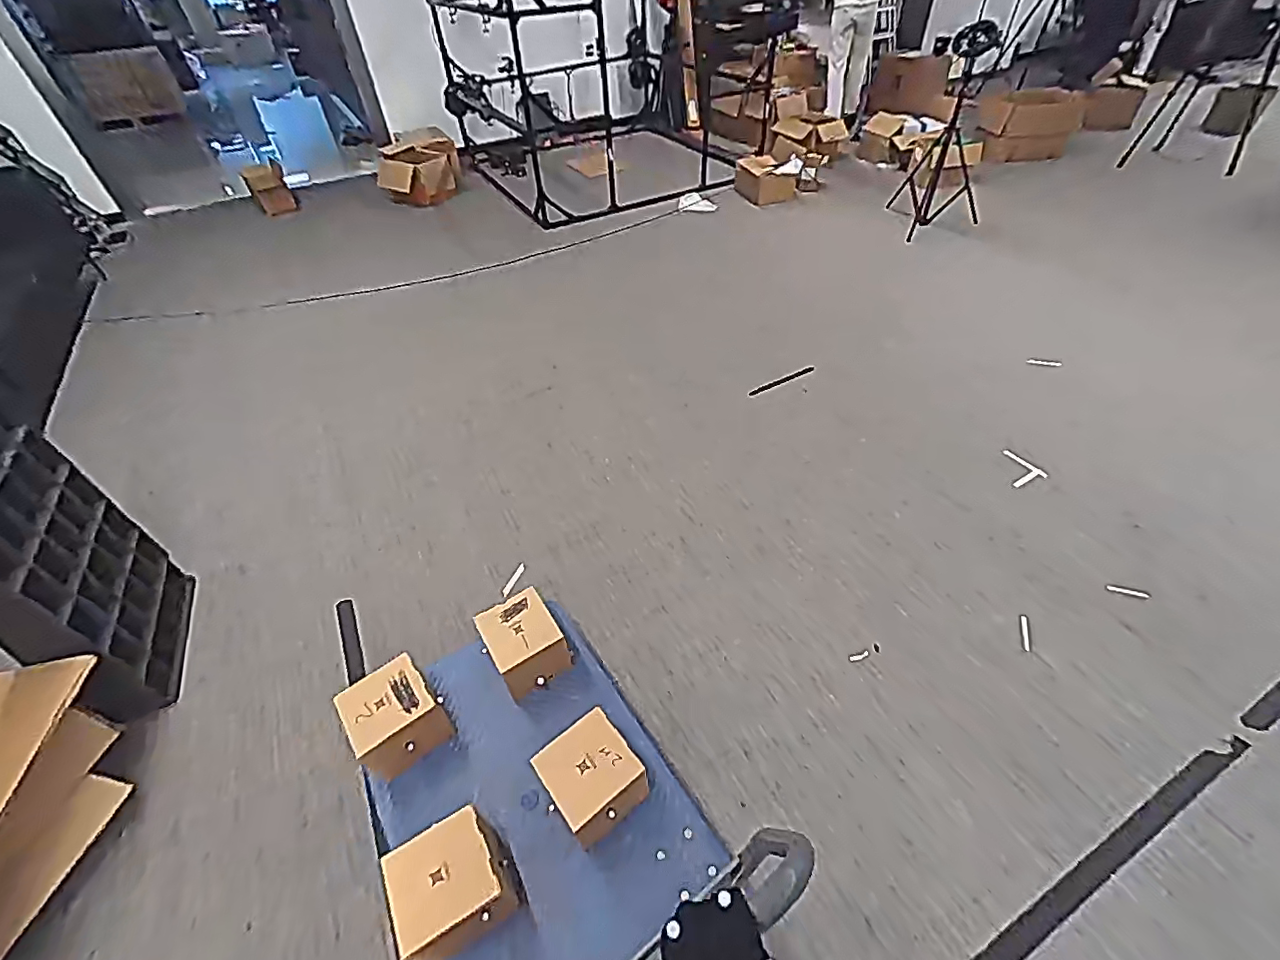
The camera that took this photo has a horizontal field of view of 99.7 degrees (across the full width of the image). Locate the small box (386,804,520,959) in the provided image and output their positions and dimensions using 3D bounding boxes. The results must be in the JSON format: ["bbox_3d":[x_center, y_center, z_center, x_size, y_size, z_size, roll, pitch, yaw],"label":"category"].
[{"bbox_3d":[-0.346,0.760,1.016,0.179,0.176,0.168,-23,48,-21],"label":"small box"}]

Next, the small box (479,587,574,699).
[{"bbox_3d":[-0.280,0.409,1.356,0.168,0.176,0.179,-26,51,-21],"label":"small box"}]

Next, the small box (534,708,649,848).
[{"bbox_3d":[-0.093,0.626,1.133,0.179,0.176,0.168,-30,51,-24],"label":"small box"}]
